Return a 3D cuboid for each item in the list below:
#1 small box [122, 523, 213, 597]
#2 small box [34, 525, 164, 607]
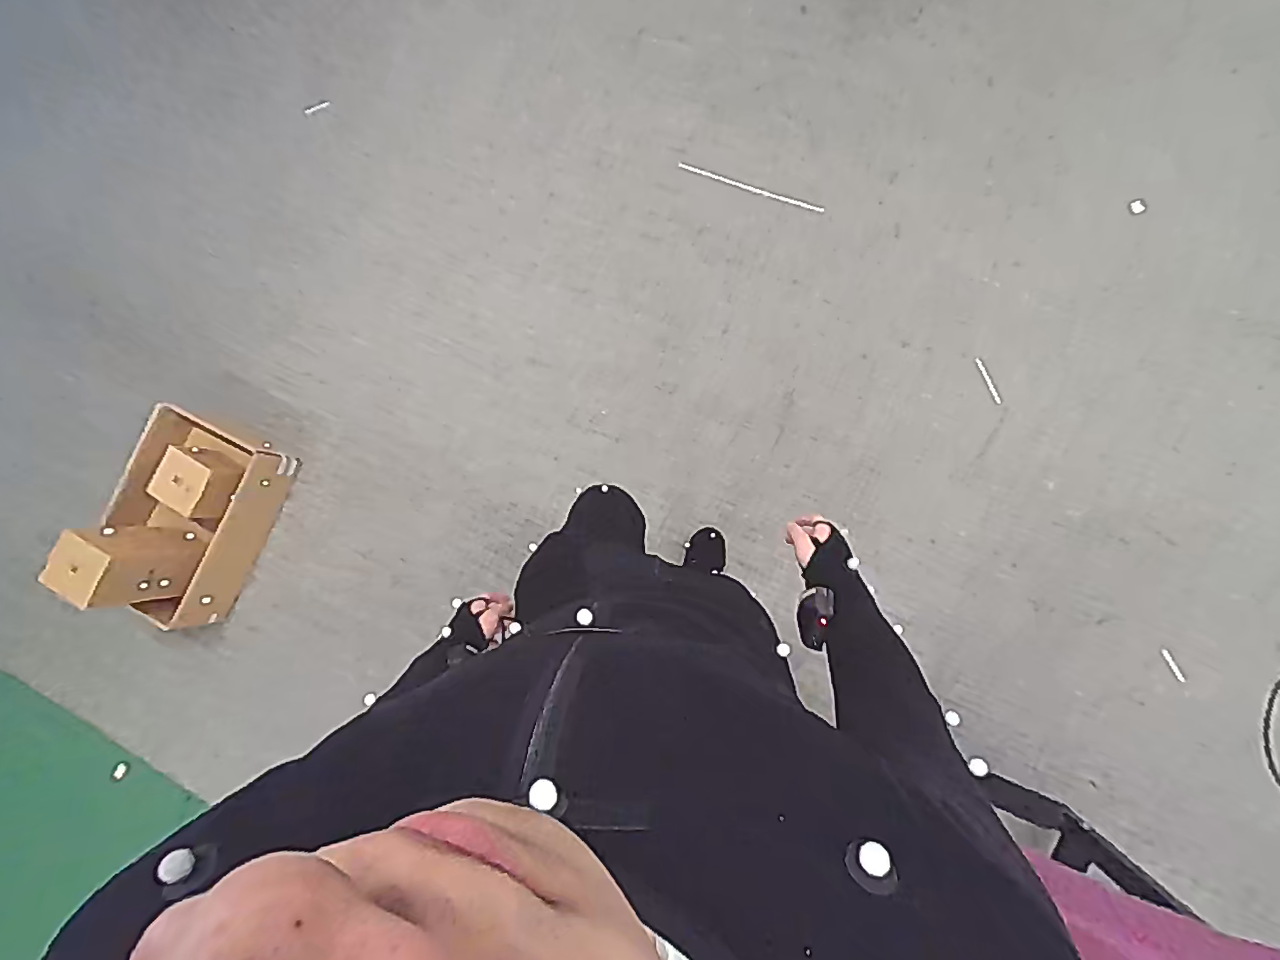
[{"bbox_3d":[-1.518,0.250,1.707,0.179,0.176,0.168,28,91,9],"label":"small box"},{"bbox_3d":[-1.537,0.240,1.545,0.179,0.176,0.168,27,90,8],"label":"small box"}]
